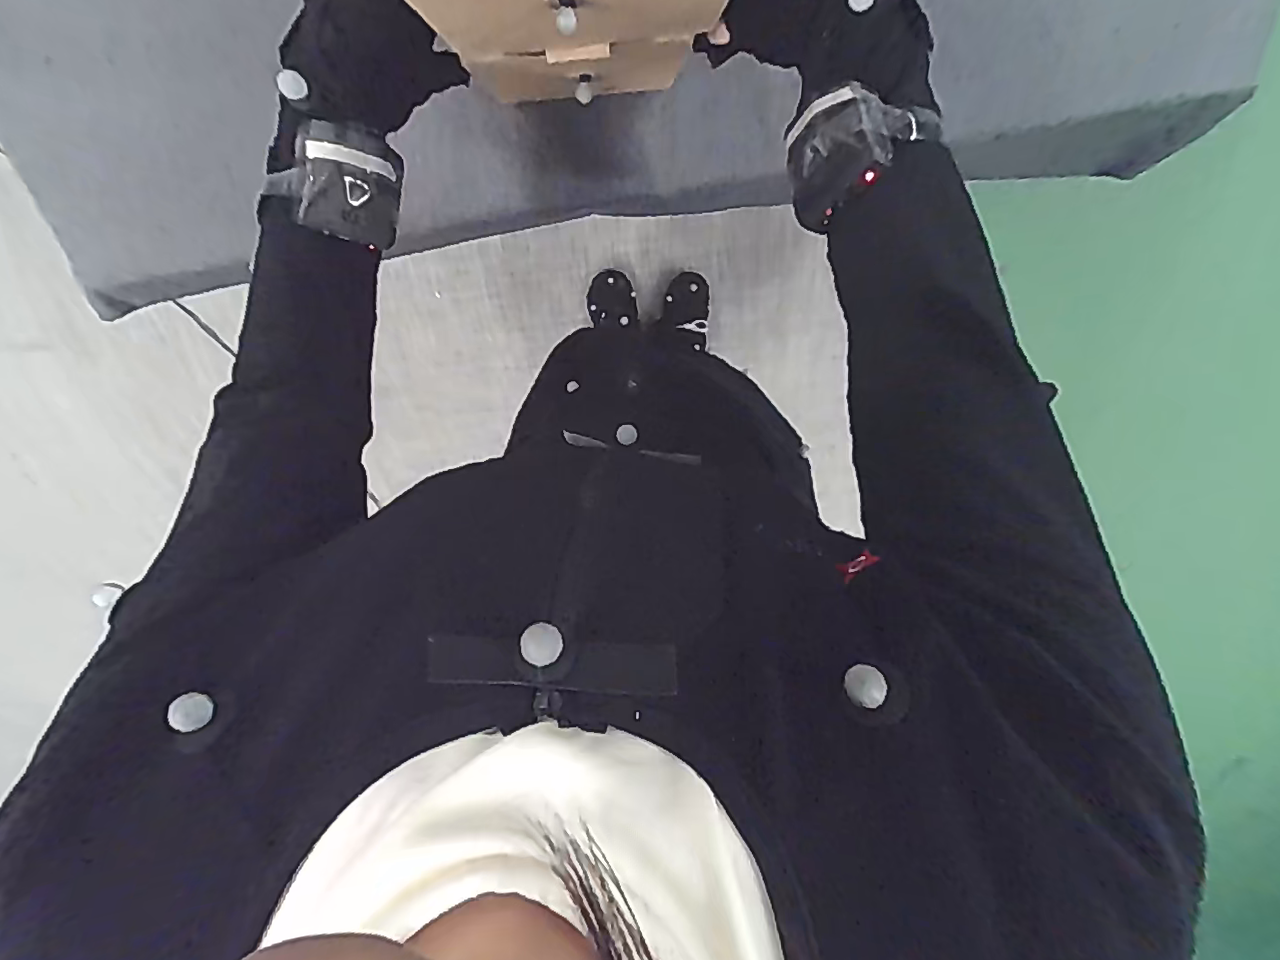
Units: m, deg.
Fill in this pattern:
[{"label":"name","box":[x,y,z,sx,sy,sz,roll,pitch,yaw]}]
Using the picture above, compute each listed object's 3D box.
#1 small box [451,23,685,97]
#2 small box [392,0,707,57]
[{"label":"small box","box":[-0.058,-0.406,0.406,0.168,0.176,0.179,-6,117,1]},{"label":"small box","box":[-0.046,-0.331,0.259,0.179,0.176,0.168,-6,116,1]}]
